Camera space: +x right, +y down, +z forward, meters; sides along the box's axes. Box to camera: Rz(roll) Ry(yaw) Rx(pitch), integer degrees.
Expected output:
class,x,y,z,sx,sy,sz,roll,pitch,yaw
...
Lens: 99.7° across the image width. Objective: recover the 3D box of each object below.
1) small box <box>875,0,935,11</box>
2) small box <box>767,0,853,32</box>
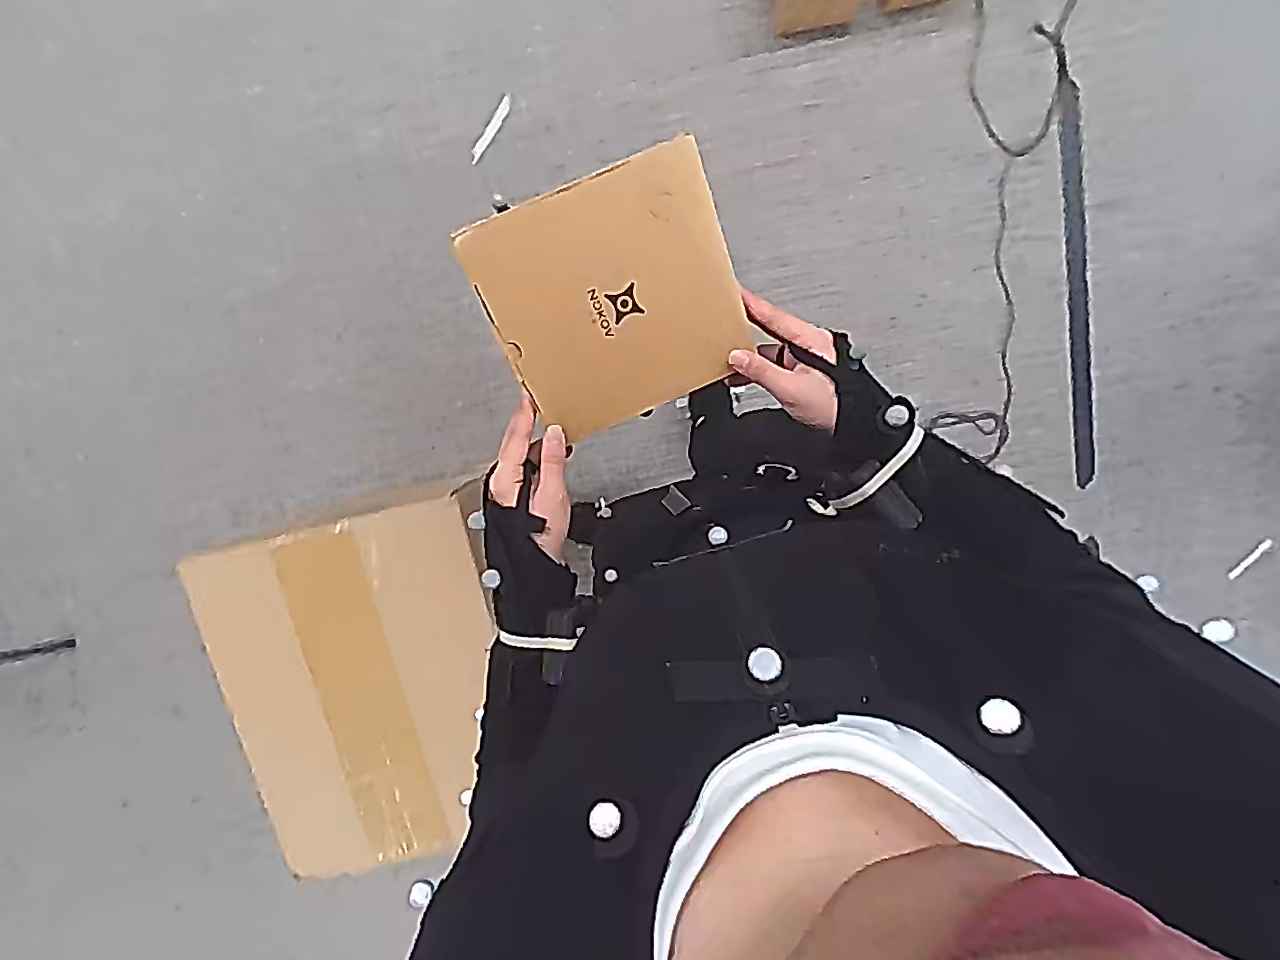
class,x,y,z,sx,sy,sz,roll,pitch,yaw
small box,0.586,-1.129,1.111,0.168,0.176,0.179,-13,100,1
small box,0.359,-1.073,1.115,0.179,0.176,0.168,-8,100,1
